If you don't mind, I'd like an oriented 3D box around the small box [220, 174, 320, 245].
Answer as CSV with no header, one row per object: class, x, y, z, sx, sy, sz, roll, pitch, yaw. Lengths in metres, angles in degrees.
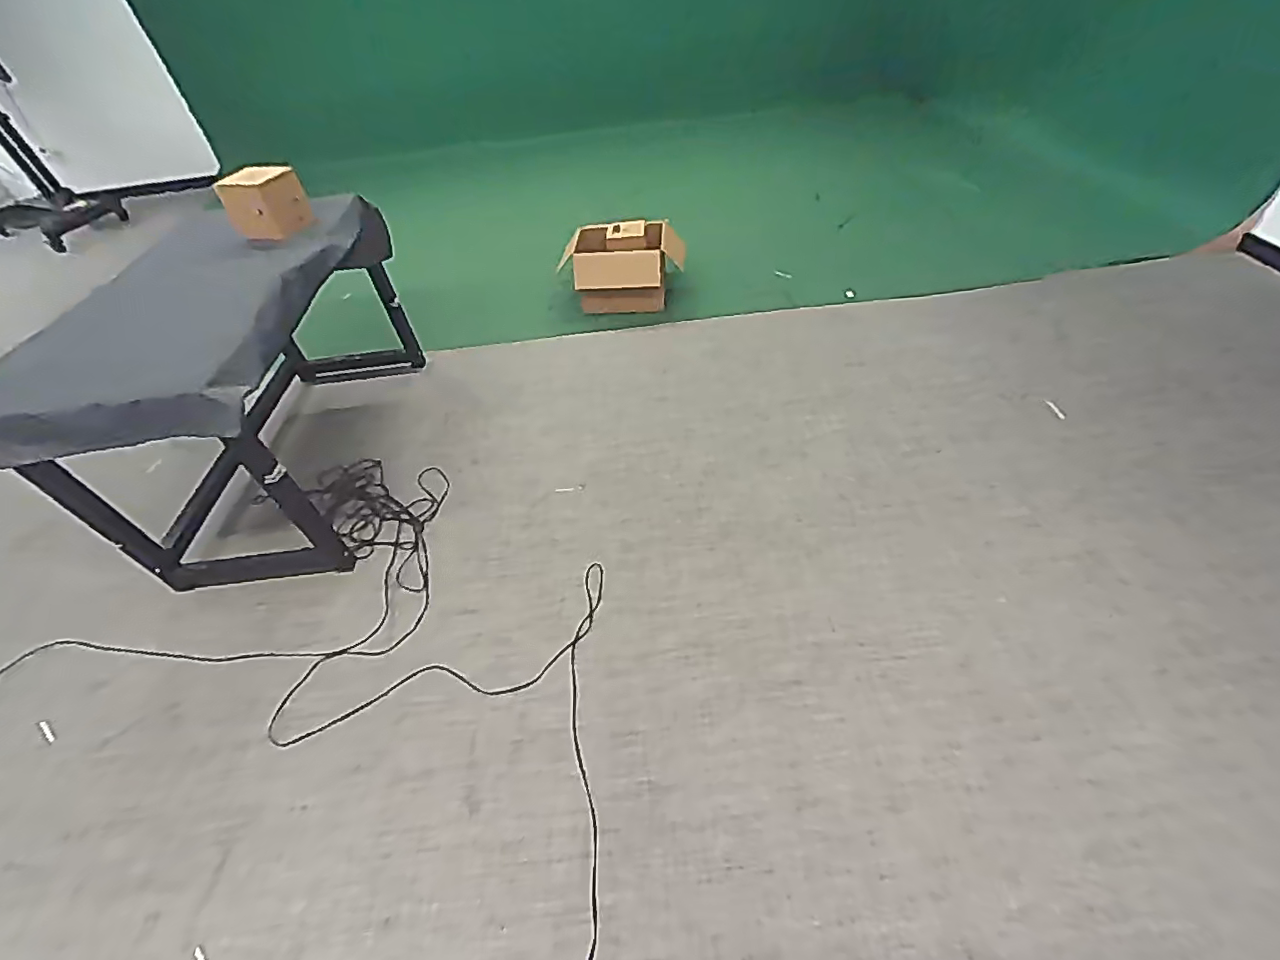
small box,-1.203,-0.886,1.775,0.179,0.176,0.168,6,47,15
